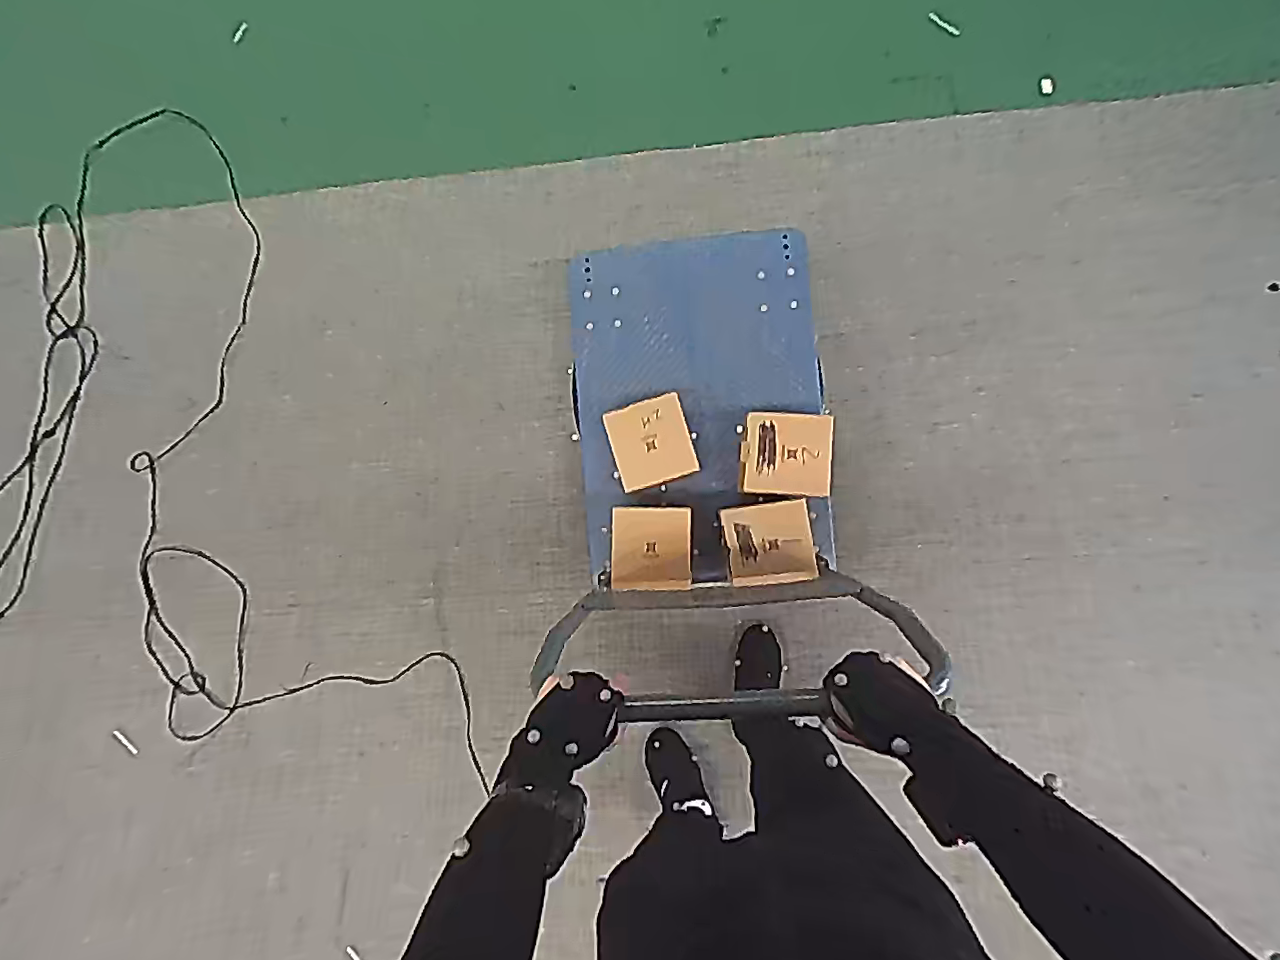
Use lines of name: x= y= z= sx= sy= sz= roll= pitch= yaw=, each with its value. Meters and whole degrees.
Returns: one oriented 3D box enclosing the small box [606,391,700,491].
small box: x=0.035 y=-0.079 z=1.210 sx=0.168 sy=0.176 sz=0.179 roll=-17 pitch=85 yaw=4
